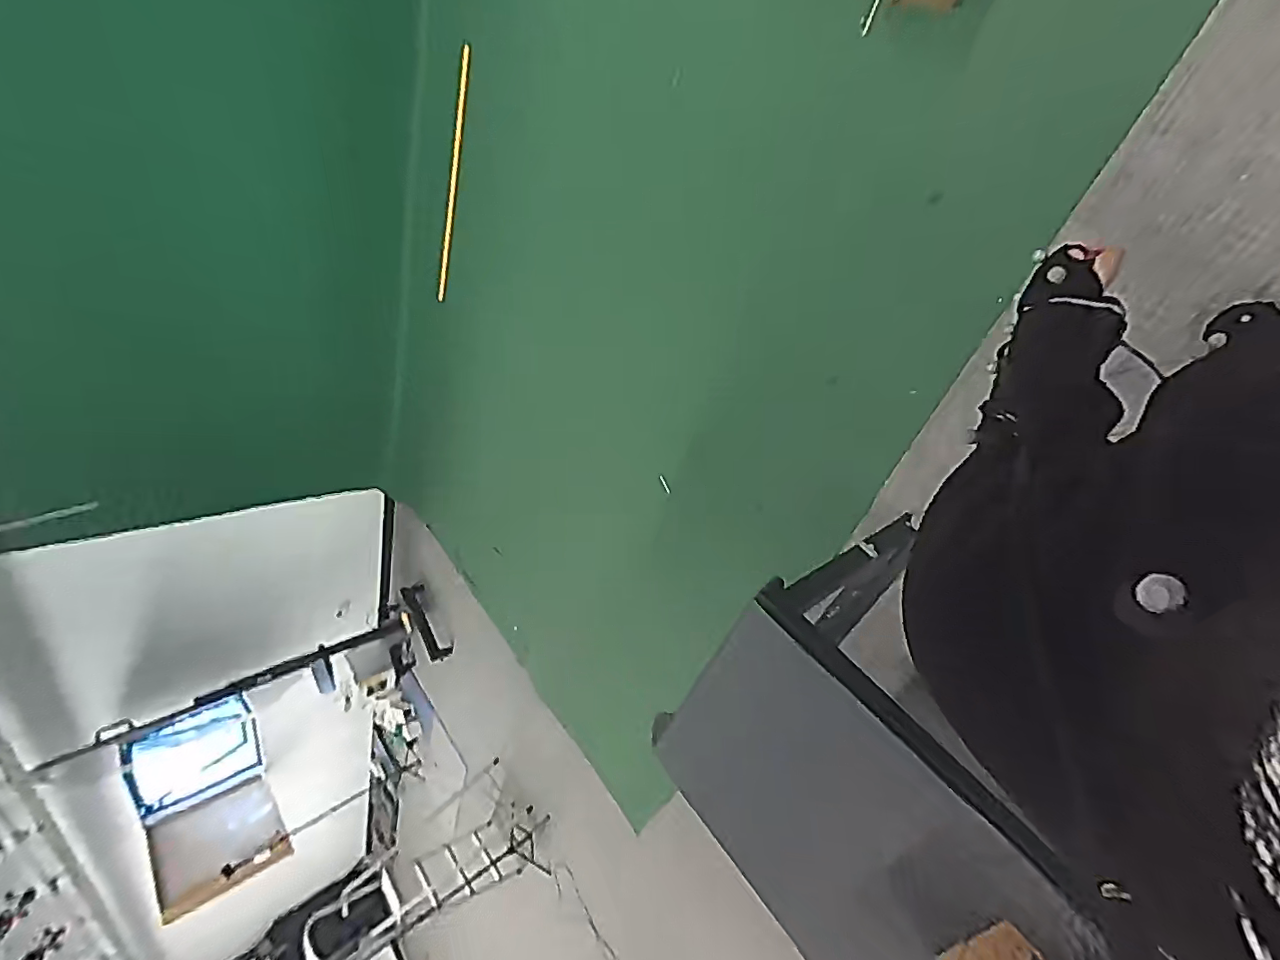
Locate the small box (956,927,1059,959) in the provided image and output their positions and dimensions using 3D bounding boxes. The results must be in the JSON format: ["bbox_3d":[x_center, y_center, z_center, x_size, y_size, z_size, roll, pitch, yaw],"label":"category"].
[{"bbox_3d":[0.512,0.760,0.721,0.168,0.176,0.179,42,129,31],"label":"small box"}]
